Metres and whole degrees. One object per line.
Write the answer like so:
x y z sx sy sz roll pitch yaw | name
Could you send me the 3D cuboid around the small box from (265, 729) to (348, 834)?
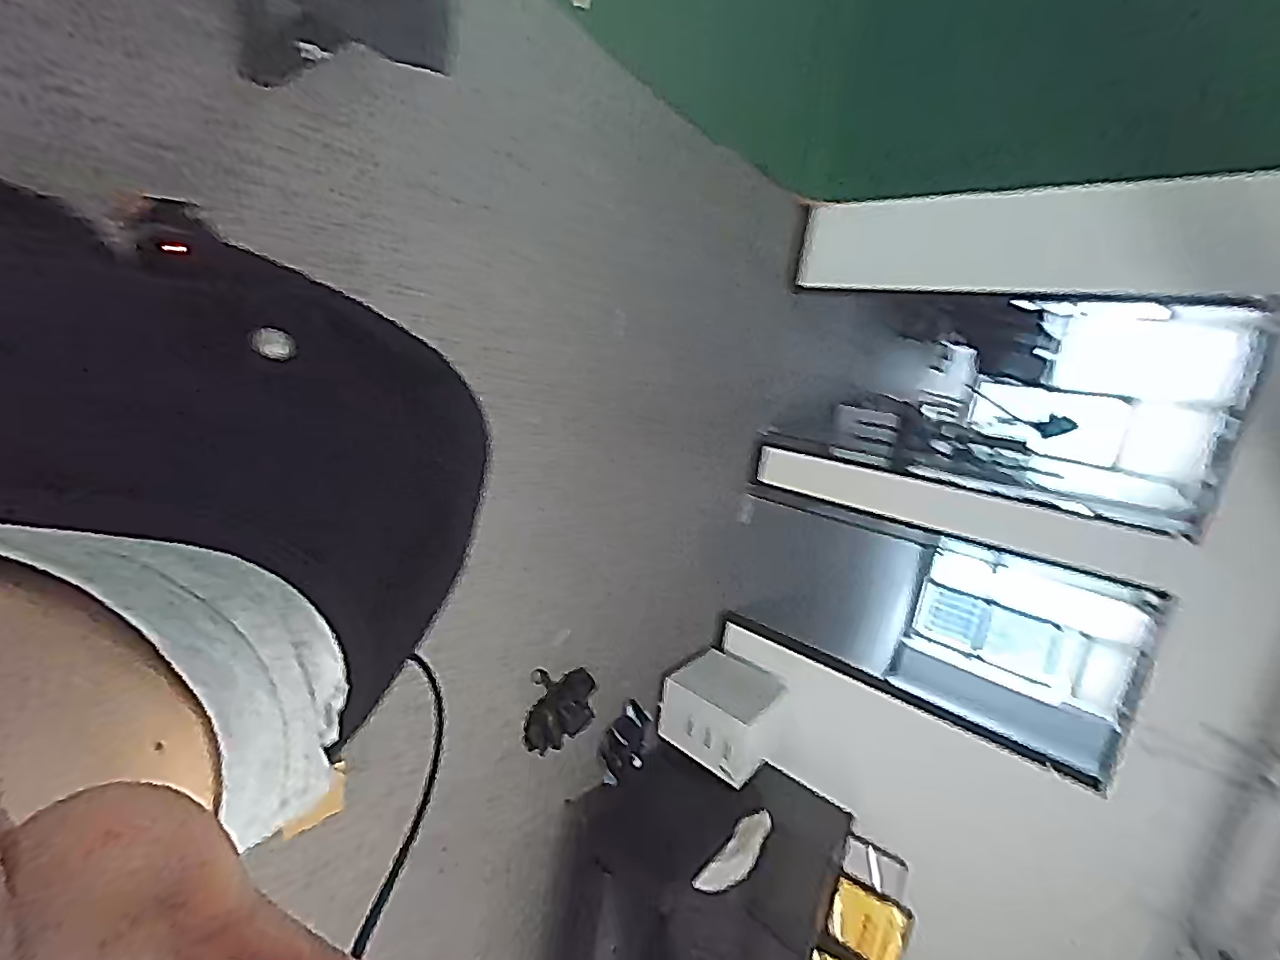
-0.989 0.883 1.601 0.168 0.176 0.179 -9 110 -51 | small box
